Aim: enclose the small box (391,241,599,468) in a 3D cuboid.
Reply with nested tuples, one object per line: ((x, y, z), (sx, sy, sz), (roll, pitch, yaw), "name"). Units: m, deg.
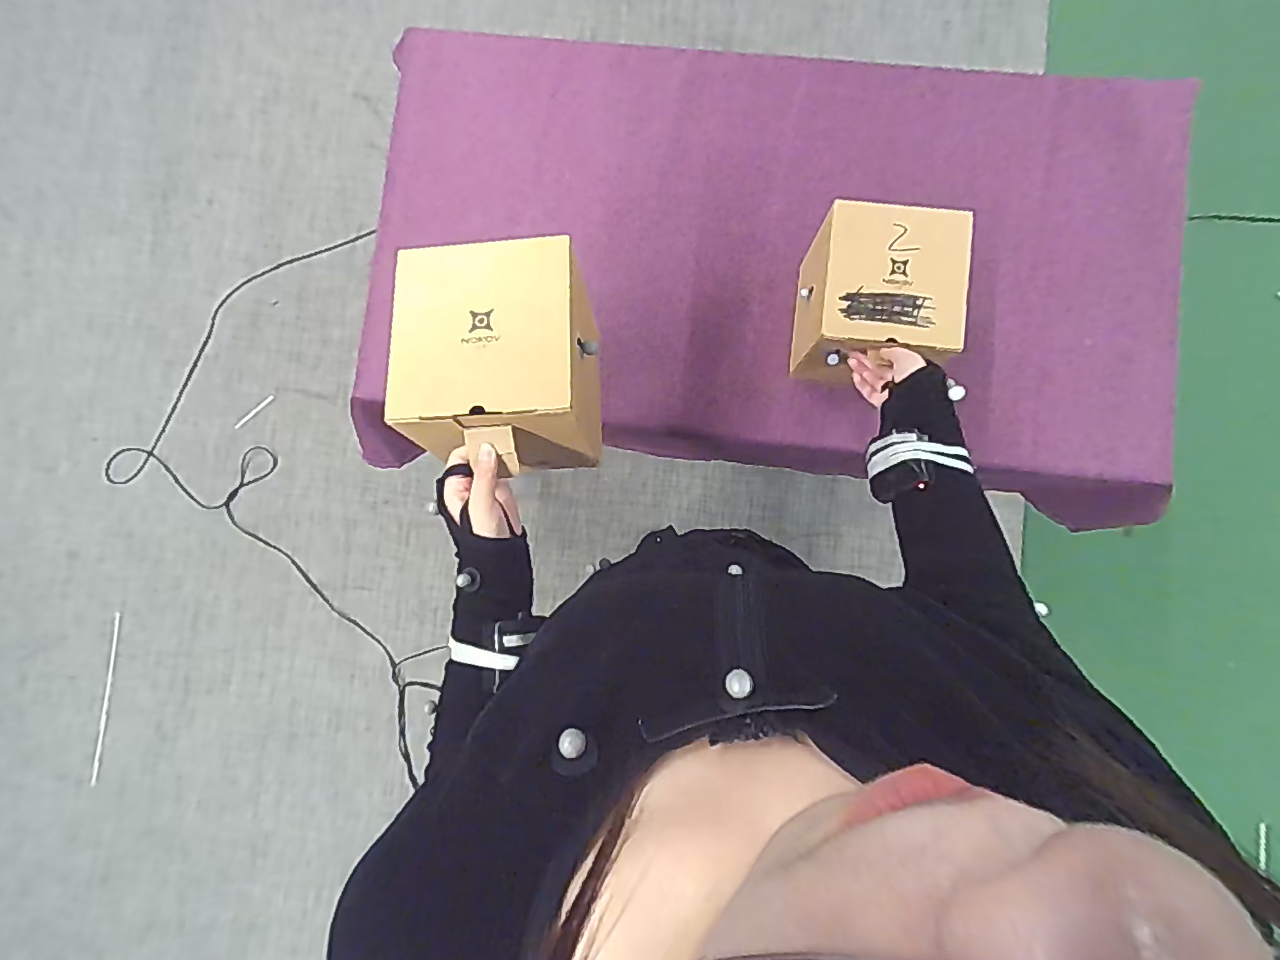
((-0.138, -0.121, 0.576), (0.168, 0.176, 0.179), (-4, 76, 4), "small box")
